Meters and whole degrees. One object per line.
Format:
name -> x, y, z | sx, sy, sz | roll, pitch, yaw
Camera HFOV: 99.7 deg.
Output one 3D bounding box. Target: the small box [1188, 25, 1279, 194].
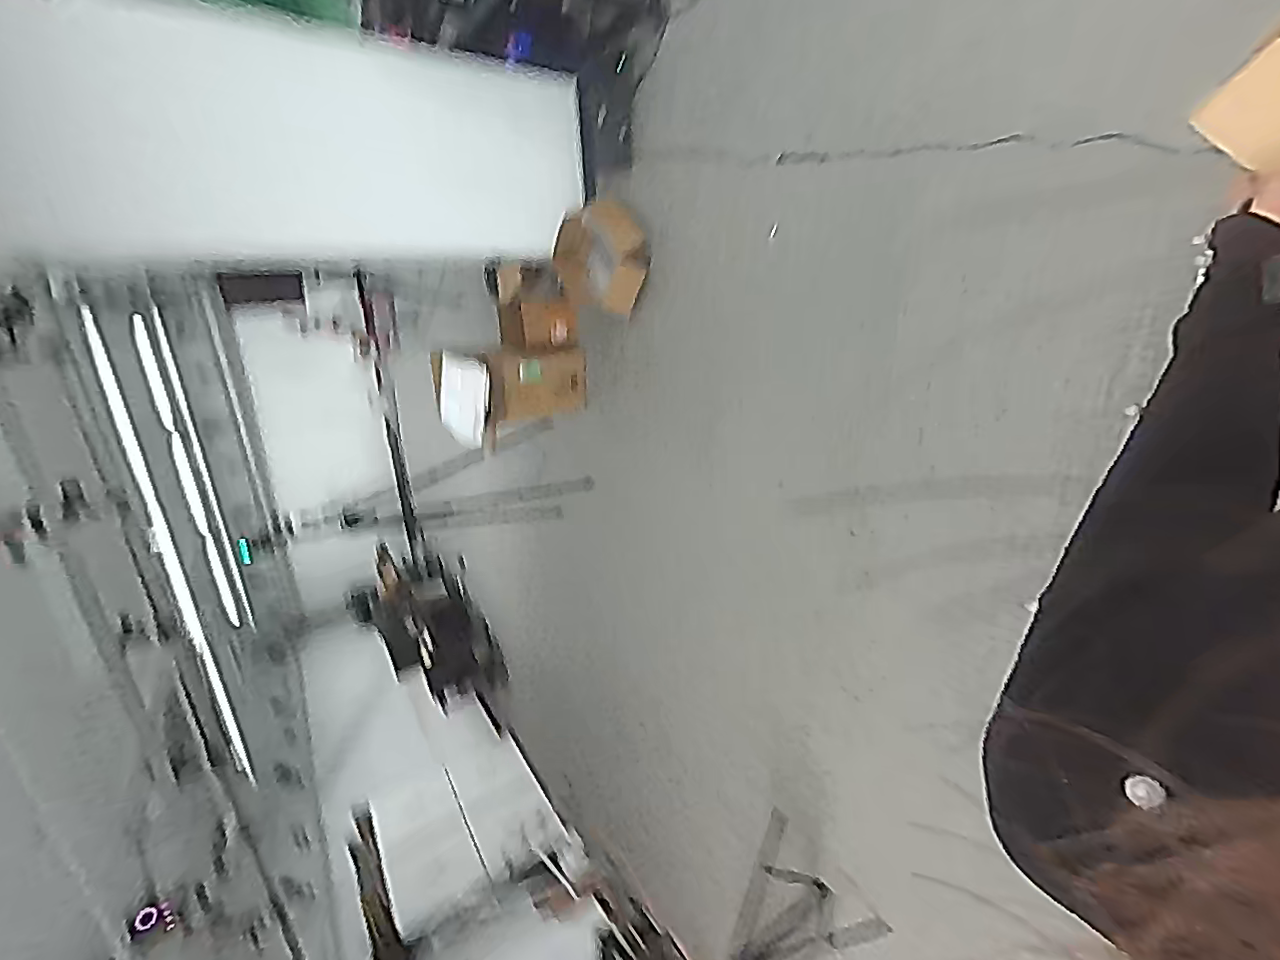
small box -> 0.682, -0.363, 0.496 | 0.179, 0.176, 0.168 | 59, 150, 16
